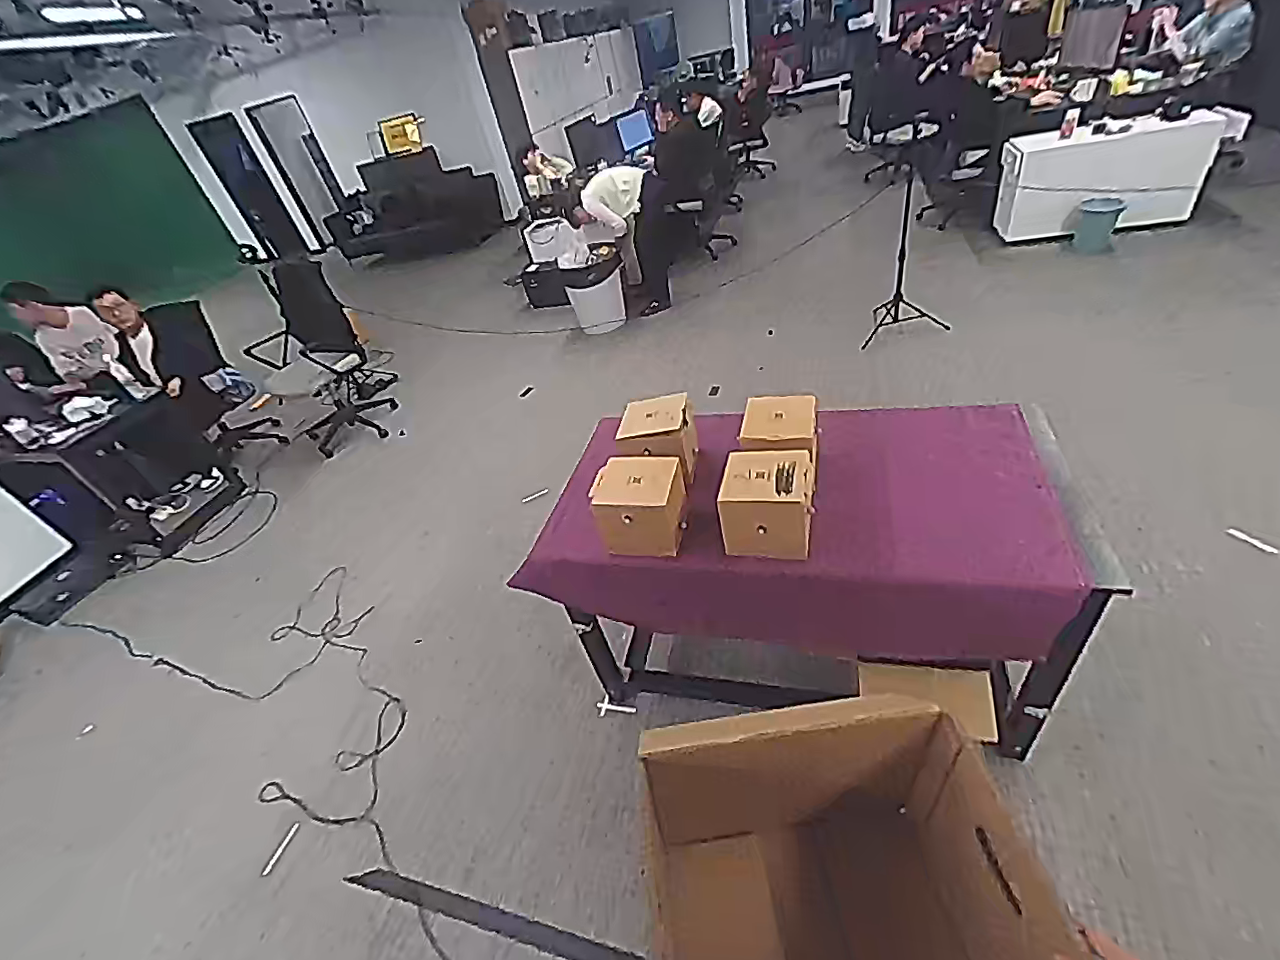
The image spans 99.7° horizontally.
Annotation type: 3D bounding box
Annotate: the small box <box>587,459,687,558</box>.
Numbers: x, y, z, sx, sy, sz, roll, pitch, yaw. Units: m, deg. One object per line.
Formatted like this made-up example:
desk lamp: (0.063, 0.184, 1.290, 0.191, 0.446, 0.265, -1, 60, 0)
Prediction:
small box: (0.001, 0.067, 1.264, 0.179, 0.176, 0.168, 0, 41, 18)

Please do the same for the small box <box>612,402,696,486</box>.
small box: (0.045, -0.091, 1.441, 0.179, 0.176, 0.168, -1, 41, 16)
